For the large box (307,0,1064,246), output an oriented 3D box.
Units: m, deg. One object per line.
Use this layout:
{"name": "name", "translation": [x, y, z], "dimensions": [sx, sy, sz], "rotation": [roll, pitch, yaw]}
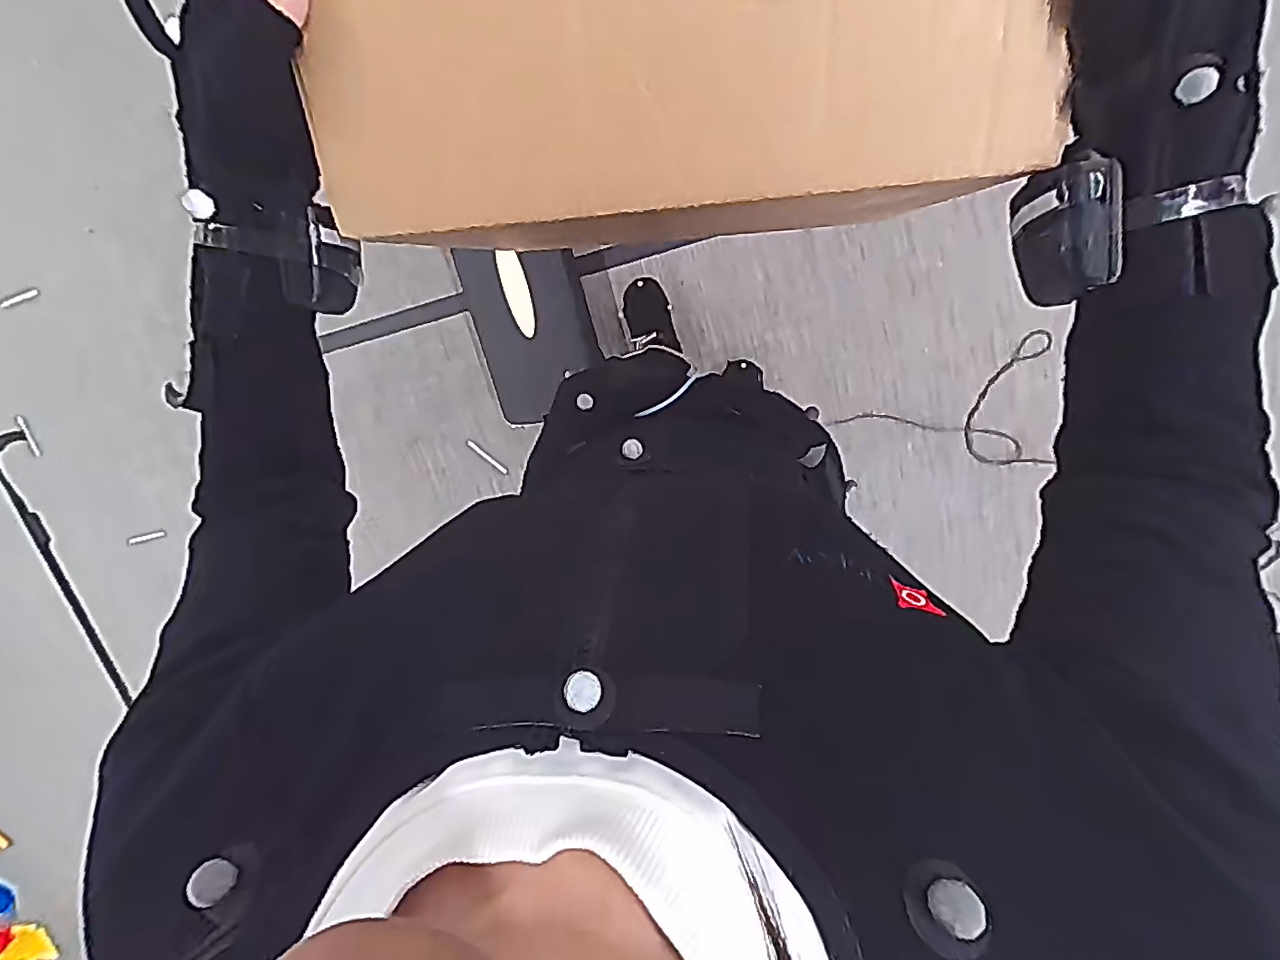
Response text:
{"name": "large box", "translation": [0.023, -0.366, 0.400], "dimensions": [0.408, 0.320, 0.320], "rotation": [-2, 112, 8]}
